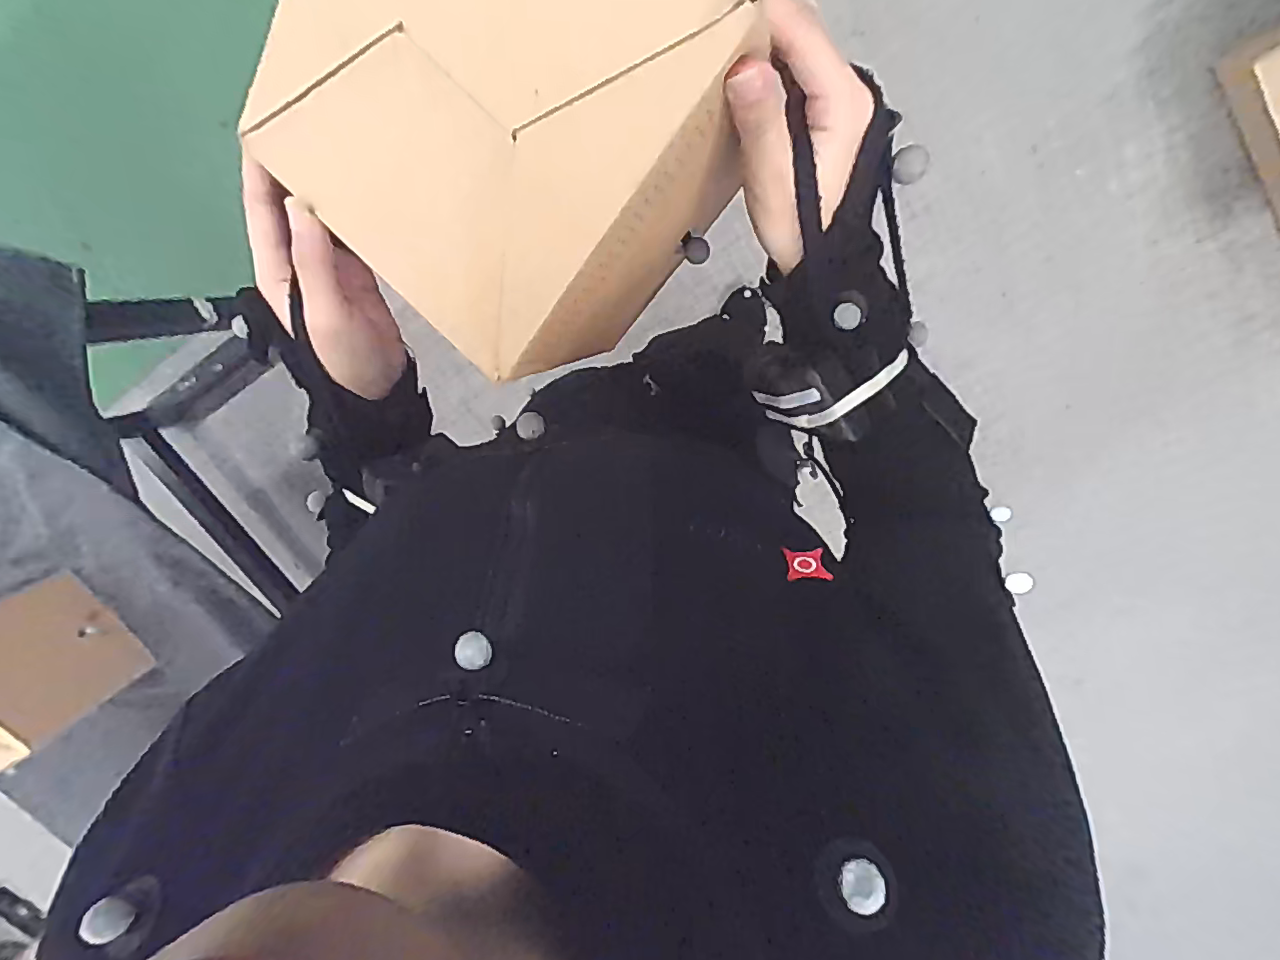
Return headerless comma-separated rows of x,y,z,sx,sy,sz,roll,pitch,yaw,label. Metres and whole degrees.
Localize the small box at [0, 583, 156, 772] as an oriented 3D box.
-0.813,0.257,0.706,0.168,0.176,0.179,-28,105,14,small box
